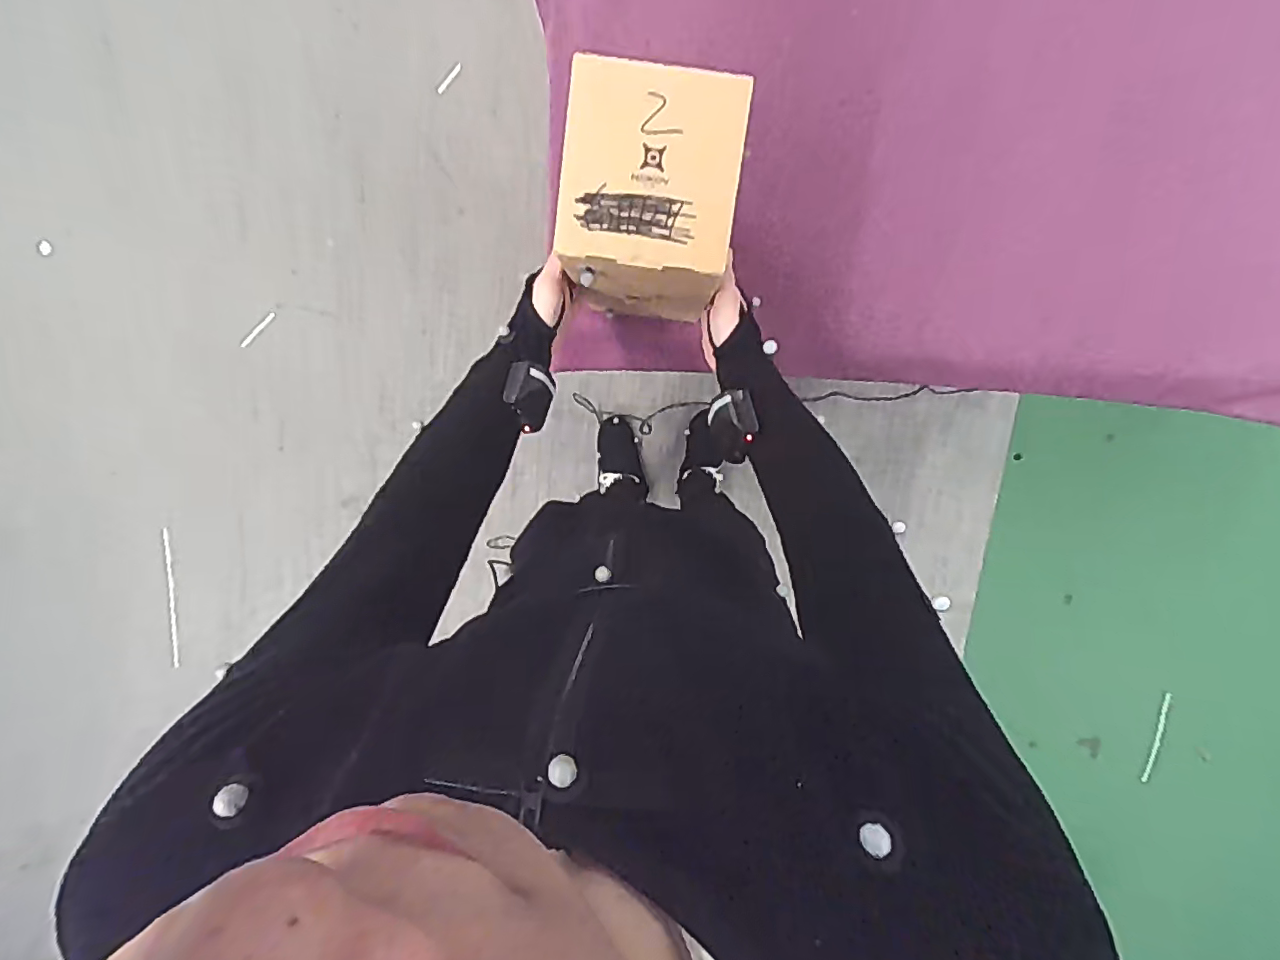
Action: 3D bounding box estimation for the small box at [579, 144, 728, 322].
[{"bbox_3d":[0.017,-0.322,0.741,0.168,0.176,0.179,7,98,-1],"label":"small box"}]
